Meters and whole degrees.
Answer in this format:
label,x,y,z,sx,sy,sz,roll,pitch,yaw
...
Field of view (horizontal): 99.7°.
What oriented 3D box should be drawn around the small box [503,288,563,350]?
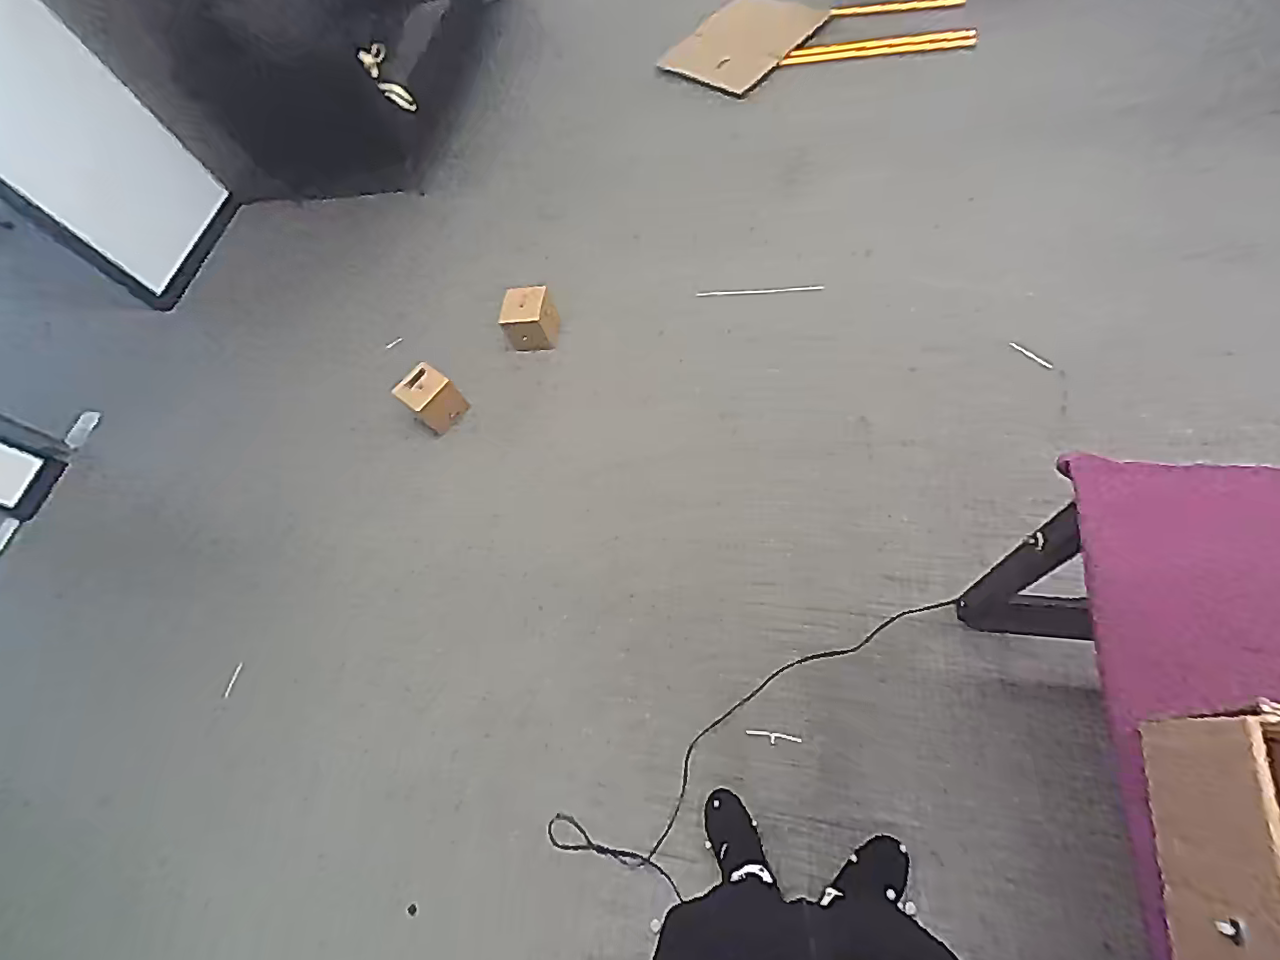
label,x,y,z,sx,sy,sz,roll,pitch,yaw
small box,-0.416,-0.630,2.141,0.168,0.176,0.179,0,64,13
